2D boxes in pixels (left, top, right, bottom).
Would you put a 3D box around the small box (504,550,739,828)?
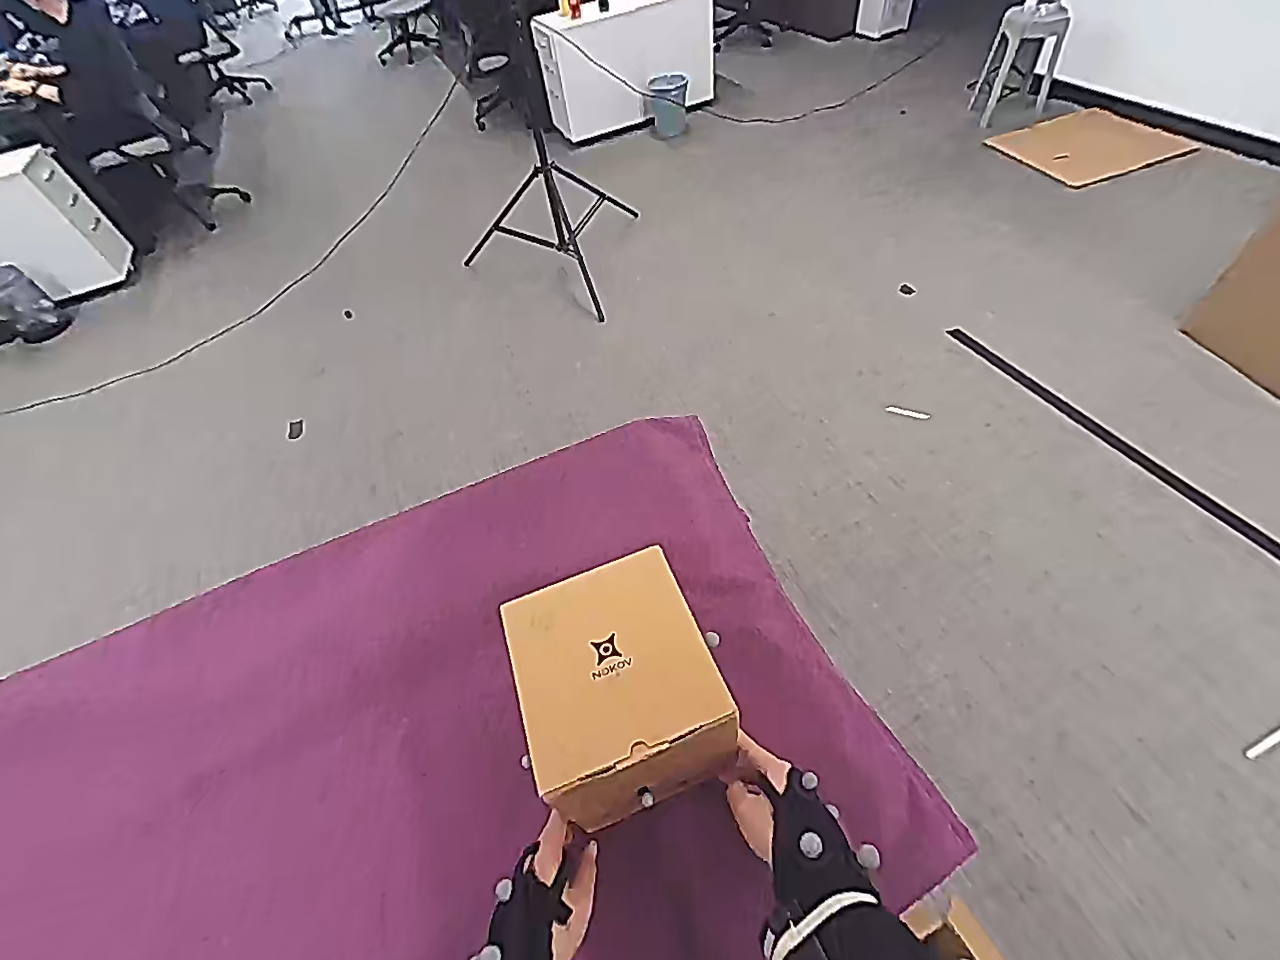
[{"bbox_3d":[-0.016,0.205,0.529,0.168,0.176,0.179,-21,50,-7],"label":"small box"}]
